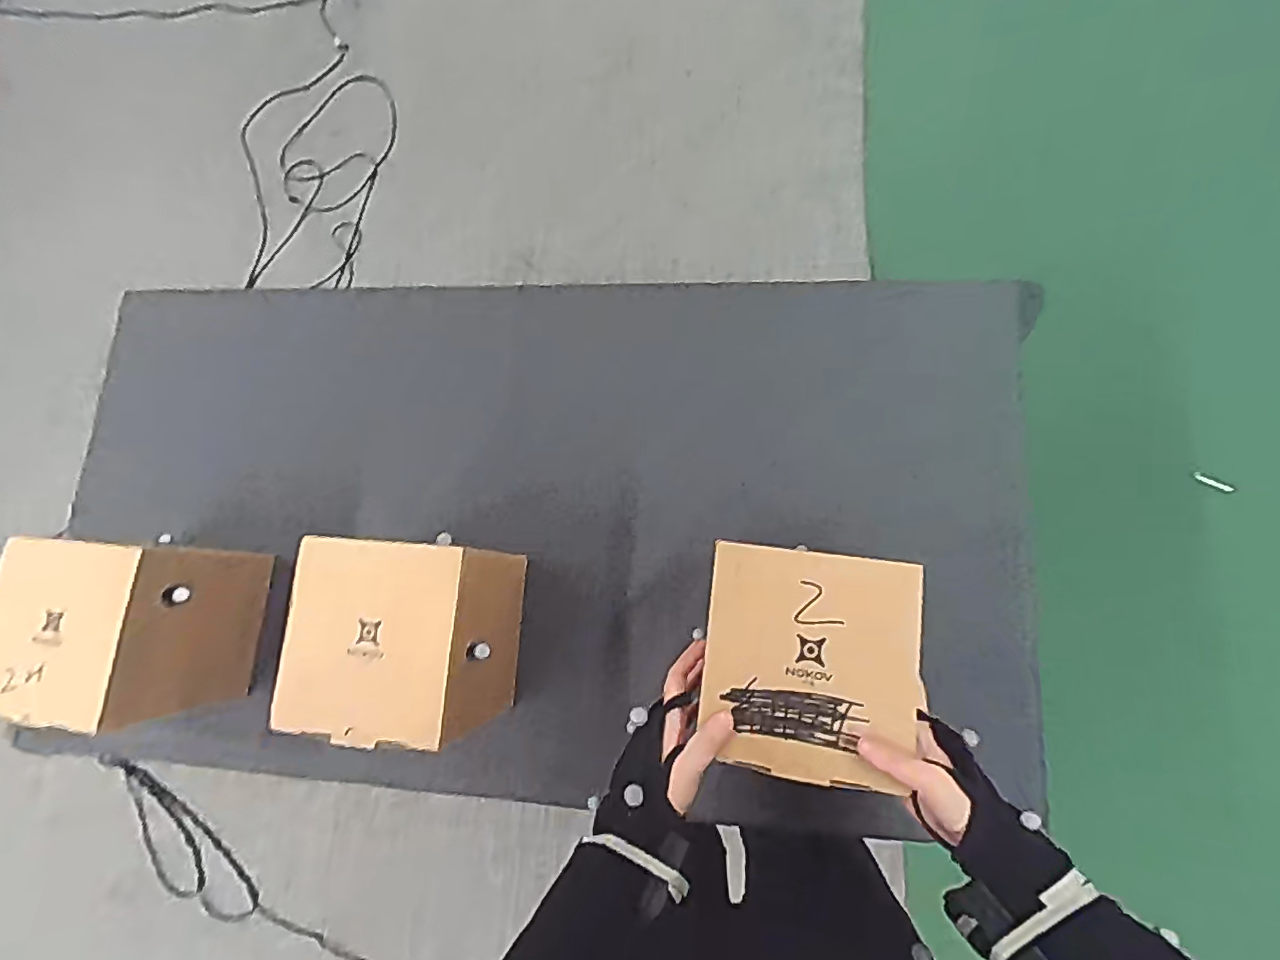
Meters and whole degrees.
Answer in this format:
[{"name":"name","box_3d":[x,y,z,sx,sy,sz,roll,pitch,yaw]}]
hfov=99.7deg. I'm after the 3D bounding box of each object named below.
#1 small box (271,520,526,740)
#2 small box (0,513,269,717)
[{"name":"small box","box_3d":[-0.225,0.143,0.555,0.168,0.176,0.179,4,80,8]},{"name":"small box","box_3d":[-0.555,0.140,0.595,0.168,0.176,0.179,5,80,9]}]
